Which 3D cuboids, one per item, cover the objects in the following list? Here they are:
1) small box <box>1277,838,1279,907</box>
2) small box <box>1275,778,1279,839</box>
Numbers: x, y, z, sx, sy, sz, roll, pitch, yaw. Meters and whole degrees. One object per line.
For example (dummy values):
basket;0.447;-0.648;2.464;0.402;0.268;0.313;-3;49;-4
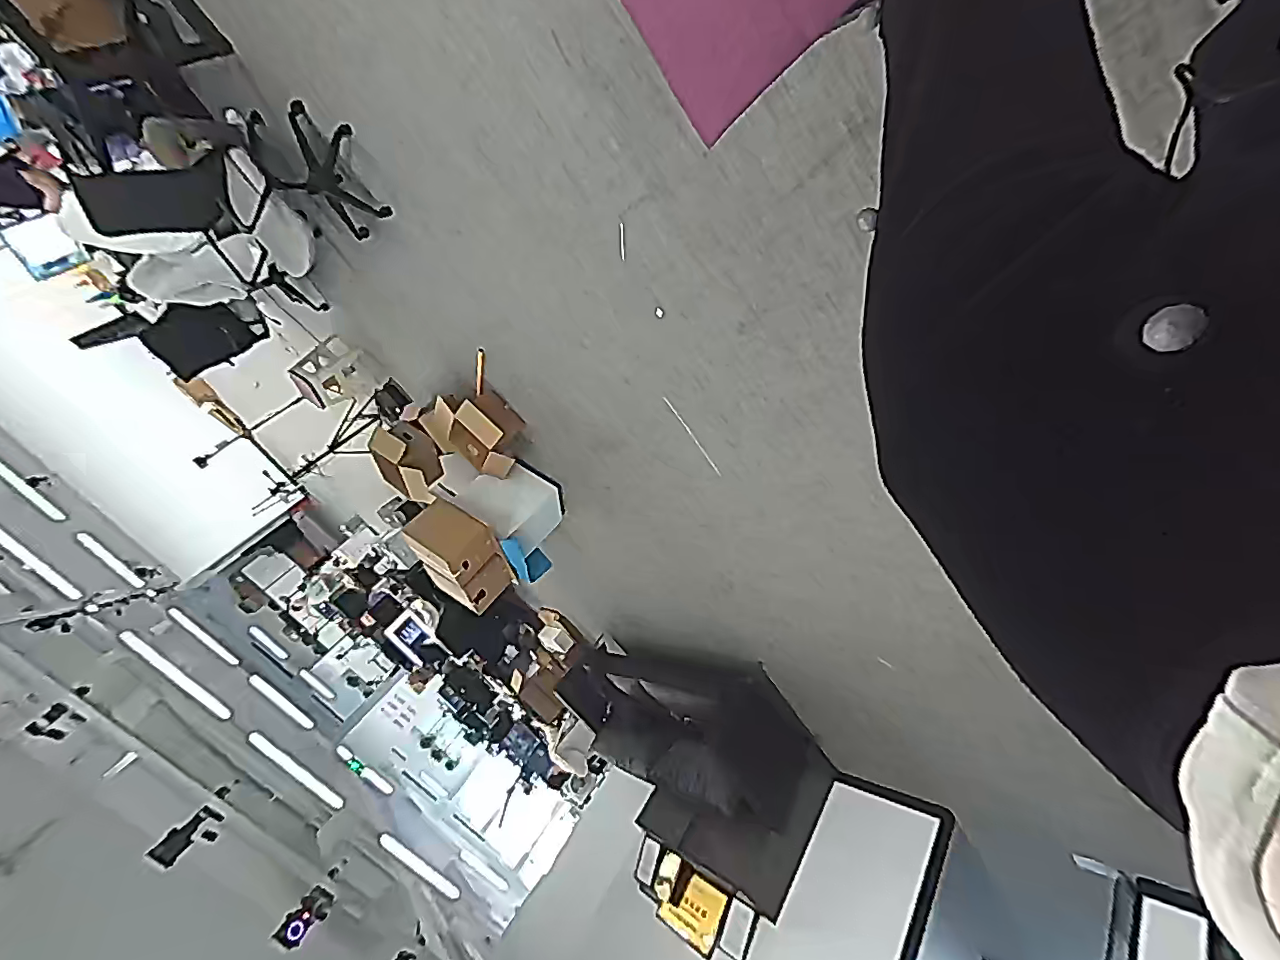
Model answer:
small box;1.598;0.974;1.236;0.168;0.176;0.179;-9;121;53
small box;1.693;0.875;1.322;0.168;0.176;0.179;-9;121;51
